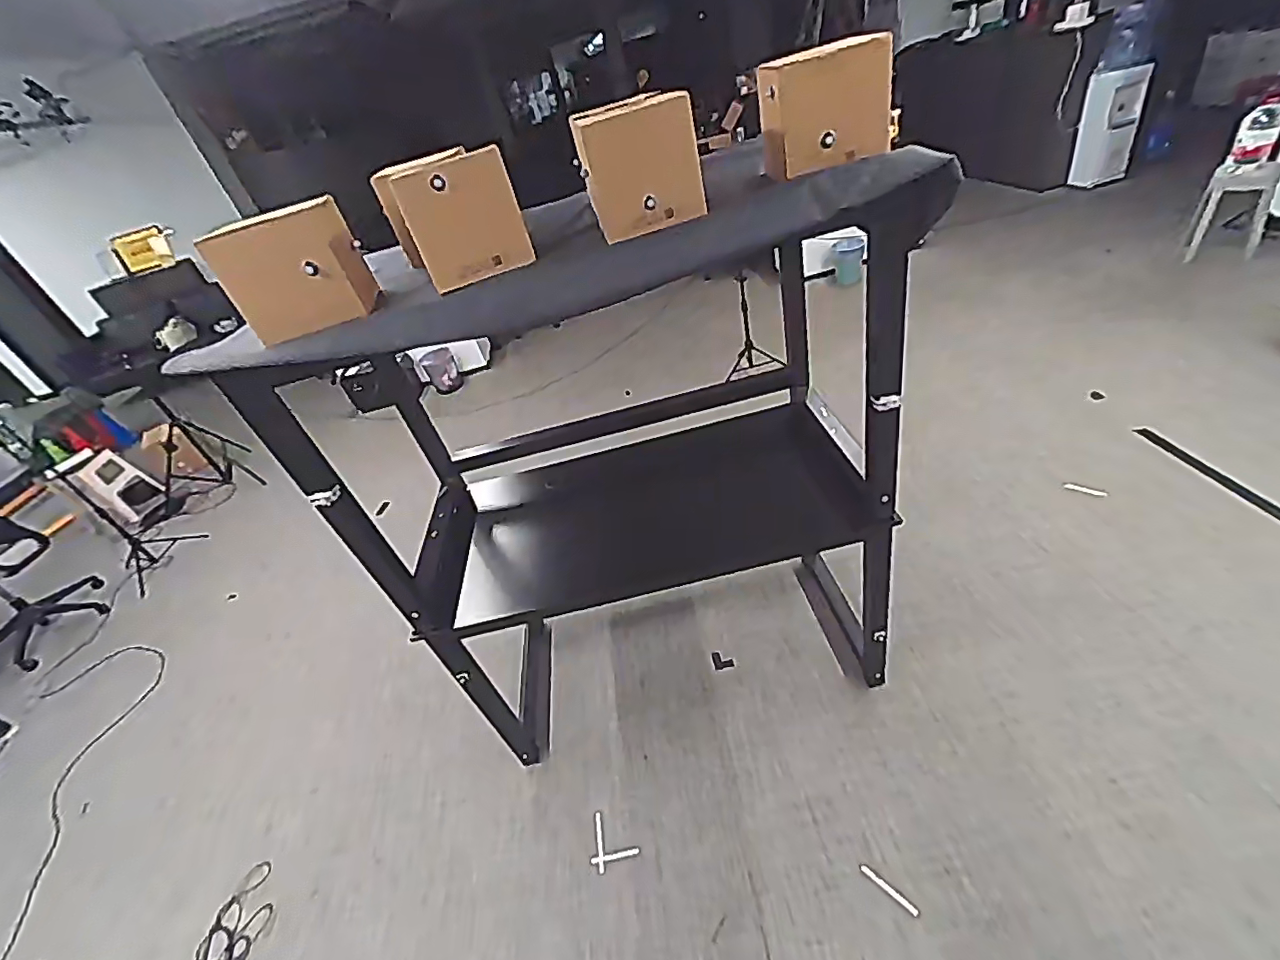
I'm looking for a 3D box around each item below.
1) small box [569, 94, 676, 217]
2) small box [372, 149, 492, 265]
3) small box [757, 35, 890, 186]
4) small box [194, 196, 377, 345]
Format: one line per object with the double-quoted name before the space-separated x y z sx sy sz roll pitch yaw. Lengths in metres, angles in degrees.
"small box" -0.034 -0.637 1.067 0.168 0.176 0.179 -16 36 1
"small box" -0.417 -0.563 1.118 0.168 0.176 0.179 -16 37 1
"small box" 0.298 -0.608 0.900 0.168 0.176 0.179 -12 37 7
"small box" -0.563 -0.347 0.894 0.179 0.176 0.168 -20 36 -5
